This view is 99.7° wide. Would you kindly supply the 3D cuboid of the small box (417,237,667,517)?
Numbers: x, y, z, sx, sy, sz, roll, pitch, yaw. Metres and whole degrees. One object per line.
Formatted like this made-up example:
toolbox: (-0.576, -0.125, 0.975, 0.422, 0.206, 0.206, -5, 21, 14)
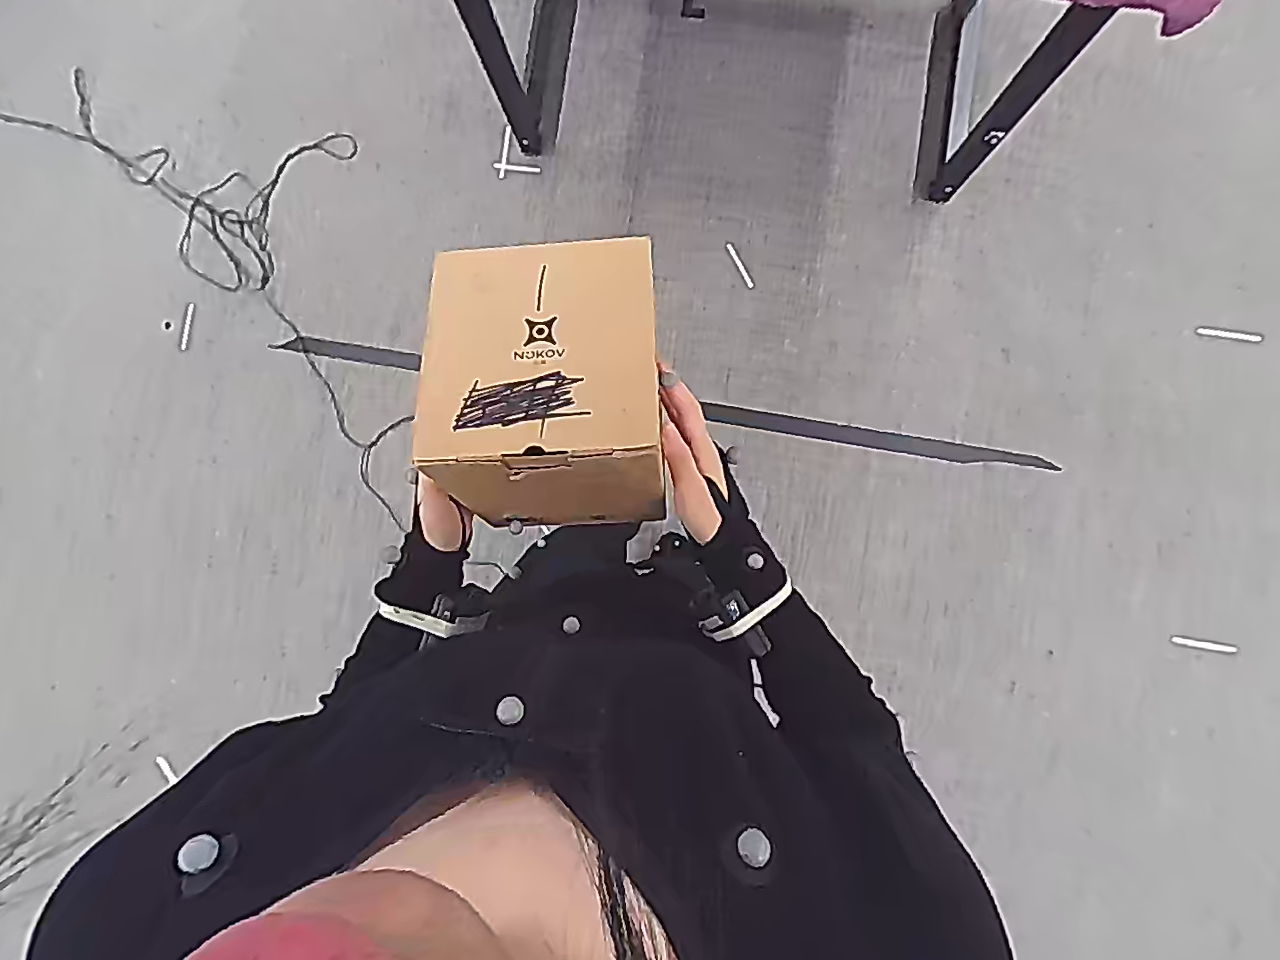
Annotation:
small box: (-0.063, -0.070, 0.456, 0.168, 0.176, 0.179, -3, 69, 3)
